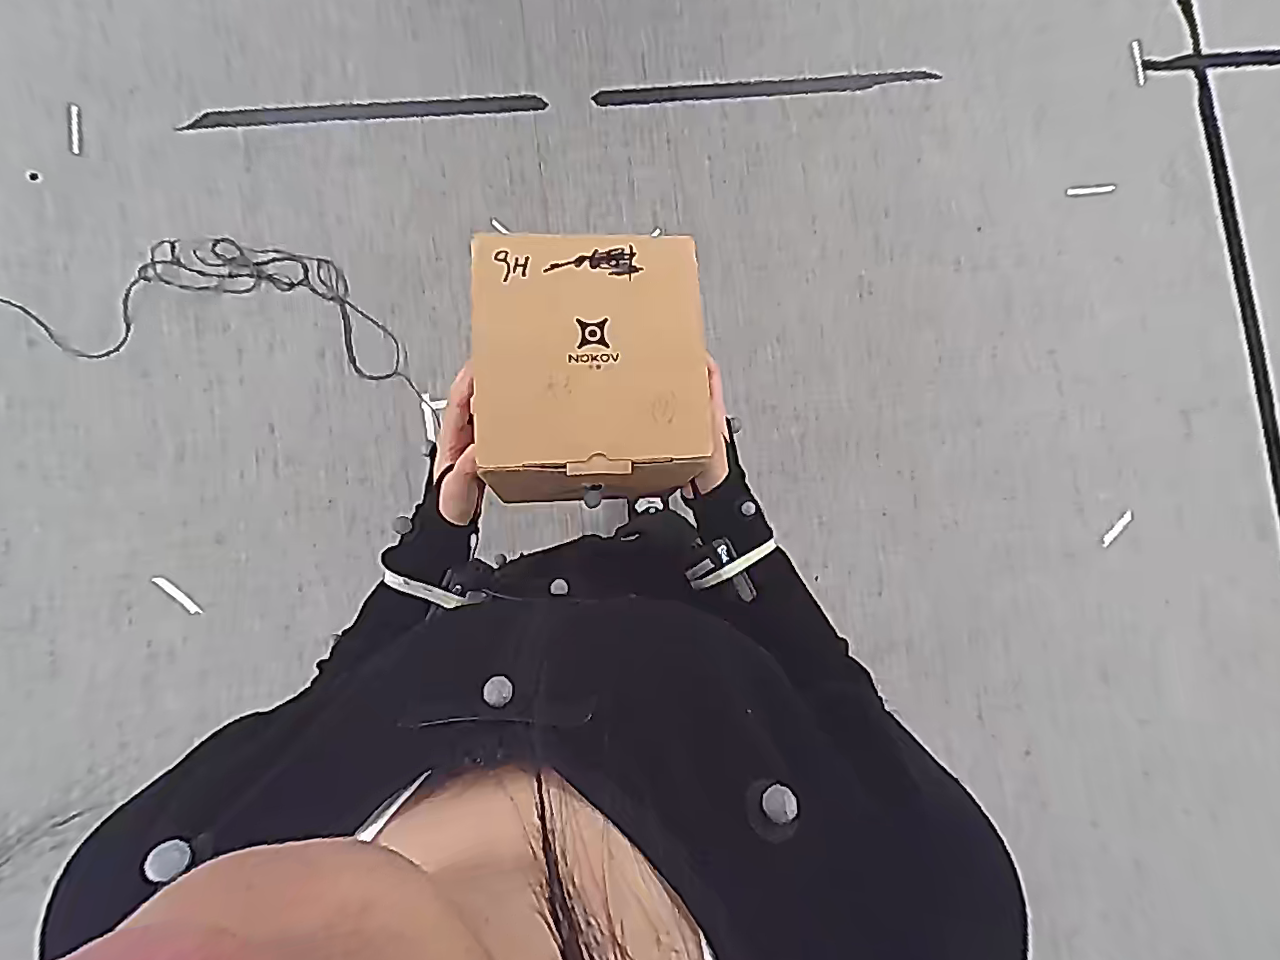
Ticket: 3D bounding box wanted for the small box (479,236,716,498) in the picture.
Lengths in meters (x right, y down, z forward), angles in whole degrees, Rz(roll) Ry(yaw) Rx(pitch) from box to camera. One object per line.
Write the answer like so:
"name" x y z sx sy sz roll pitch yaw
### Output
"small box" -0.040 -0.079 0.462 0.168 0.176 0.179 -2 81 -9
